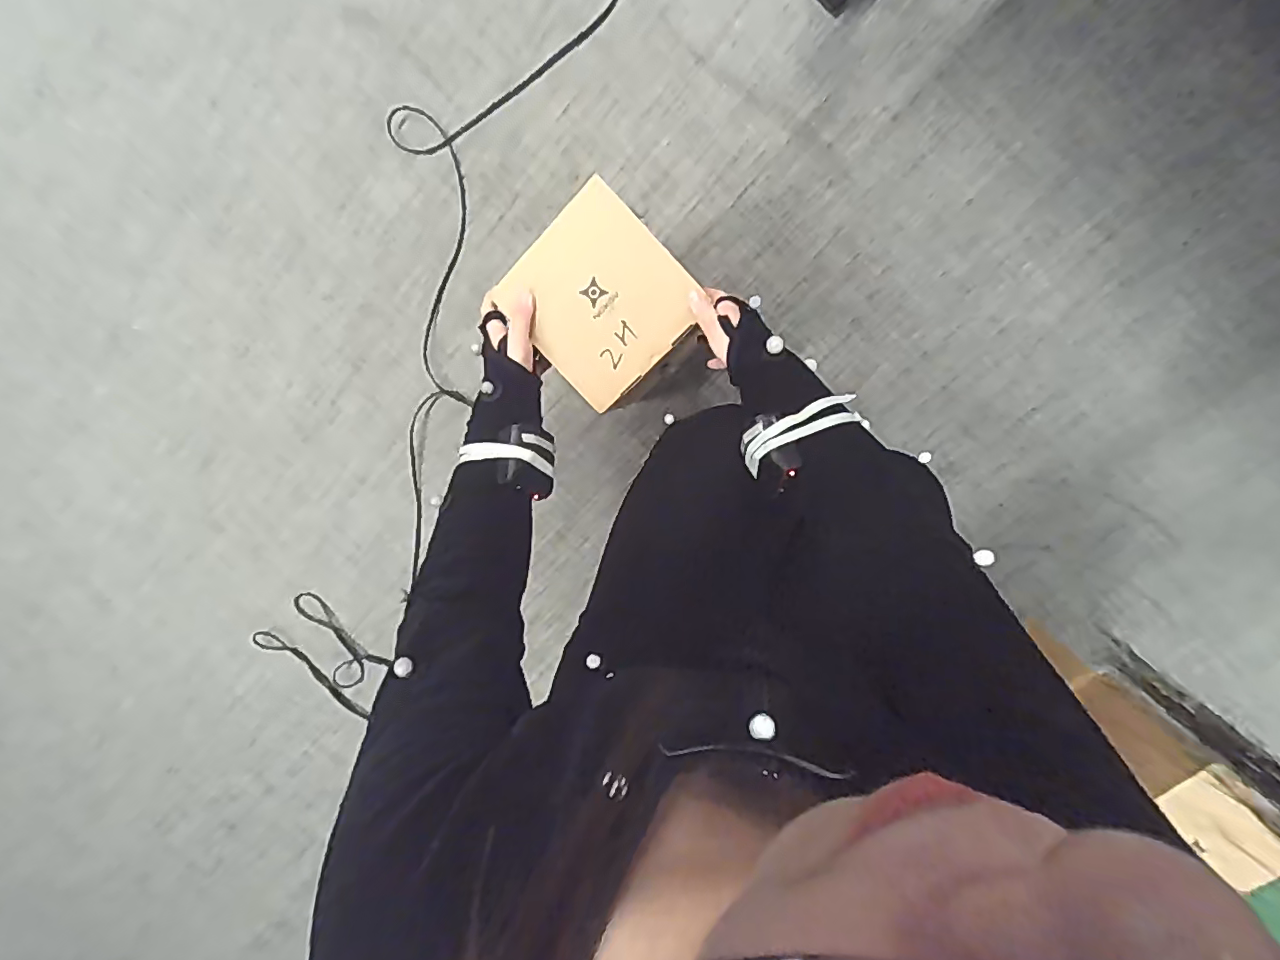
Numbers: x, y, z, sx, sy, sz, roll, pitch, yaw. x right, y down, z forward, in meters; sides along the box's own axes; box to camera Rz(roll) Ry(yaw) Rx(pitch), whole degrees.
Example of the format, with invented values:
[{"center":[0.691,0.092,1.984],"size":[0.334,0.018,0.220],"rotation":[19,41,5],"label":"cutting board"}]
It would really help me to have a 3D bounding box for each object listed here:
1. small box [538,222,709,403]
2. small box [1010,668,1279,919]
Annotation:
[{"center":[-0.013,-0.233,0.793],"size":[0.179,0.176,0.168],"rotation":[-44,94,13],"label":"small box"},{"center":[0.613,0.379,0.679],"size":[0.168,0.176,0.179],"rotation":[44,104,-5],"label":"small box"}]
